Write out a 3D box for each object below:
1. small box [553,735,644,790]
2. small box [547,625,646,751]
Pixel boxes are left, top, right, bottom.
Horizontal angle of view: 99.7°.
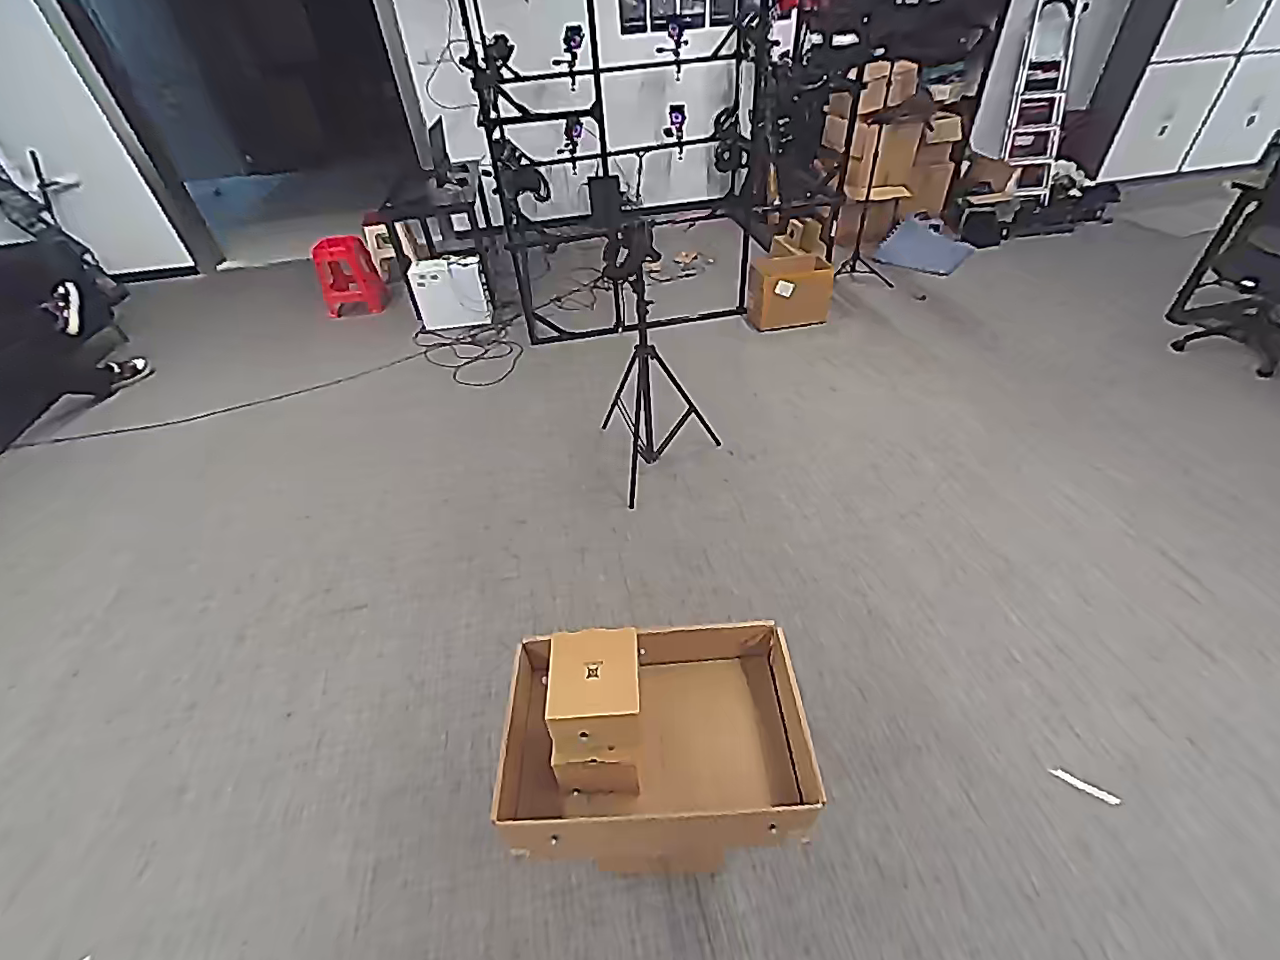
[{"bbox_3d":[-0.078,0.535,1.141,0.168,0.176,0.179,-1,40,3],"label":"small box"},{"bbox_3d":[-0.077,0.404,1.042,0.168,0.176,0.179,-4,40,0],"label":"small box"}]
